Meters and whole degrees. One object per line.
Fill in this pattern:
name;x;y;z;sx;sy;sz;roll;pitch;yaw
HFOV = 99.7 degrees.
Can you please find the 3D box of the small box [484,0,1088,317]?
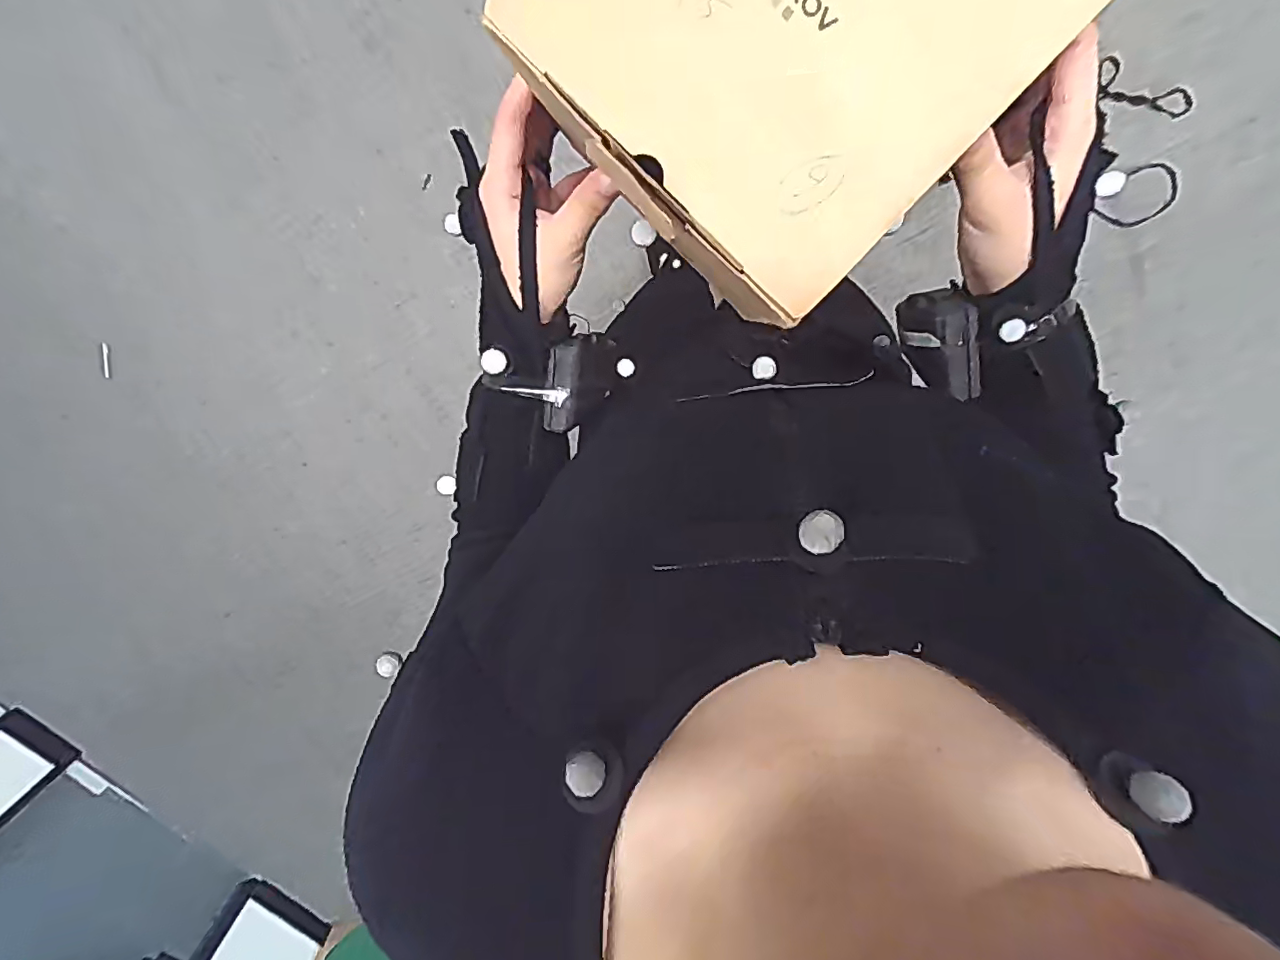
small box;0.064;-0.202;0.267;0.168;0.176;0.179;42;107;-7
